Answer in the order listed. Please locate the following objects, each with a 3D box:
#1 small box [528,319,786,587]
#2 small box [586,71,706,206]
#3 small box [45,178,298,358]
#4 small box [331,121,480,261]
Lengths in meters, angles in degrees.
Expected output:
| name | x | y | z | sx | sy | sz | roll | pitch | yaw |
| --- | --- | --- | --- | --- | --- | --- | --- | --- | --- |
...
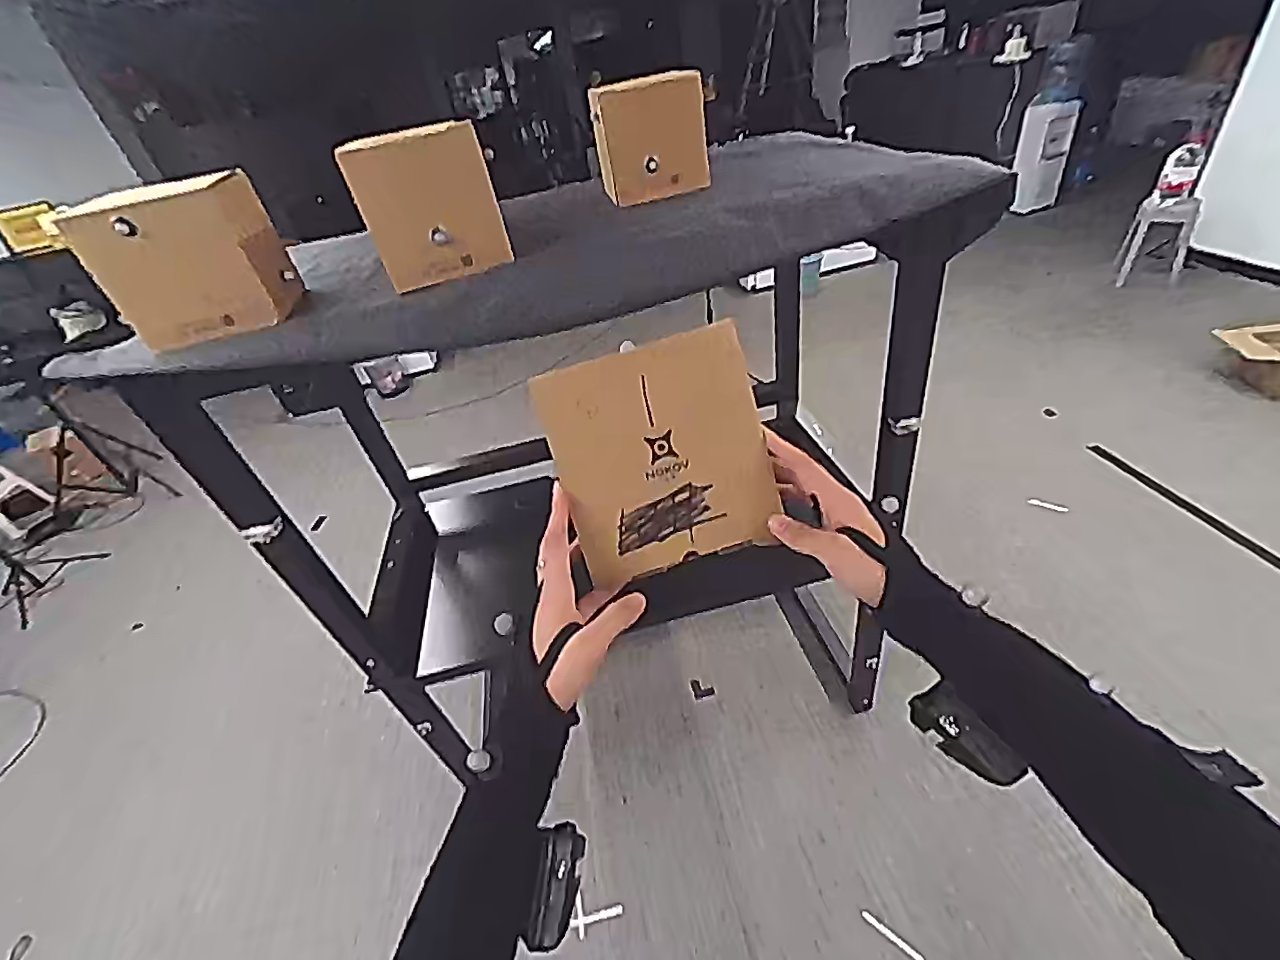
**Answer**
| name | x | y | z | sx | sy | sz | roll | pitch | yaw |
| --- | --- | --- | --- | --- | --- | --- | --- | --- | --- |
| small box | 0.011 | -0.029 | 0.493 | 0.168 | 0.179 | 0.176 | -17 | 8 | -2 |
| small box | 0.010 | -0.594 | 0.945 | 0.168 | 0.176 | 0.179 | -15 | 39 | -2 |
| small box | -0.587 | -0.282 | 0.714 | 0.168 | 0.176 | 0.179 | -19 | 38 | -9 |
| small box | -0.382 | -0.488 | 0.920 | 0.168 | 0.176 | 0.179 | -12 | 39 | -1 |
